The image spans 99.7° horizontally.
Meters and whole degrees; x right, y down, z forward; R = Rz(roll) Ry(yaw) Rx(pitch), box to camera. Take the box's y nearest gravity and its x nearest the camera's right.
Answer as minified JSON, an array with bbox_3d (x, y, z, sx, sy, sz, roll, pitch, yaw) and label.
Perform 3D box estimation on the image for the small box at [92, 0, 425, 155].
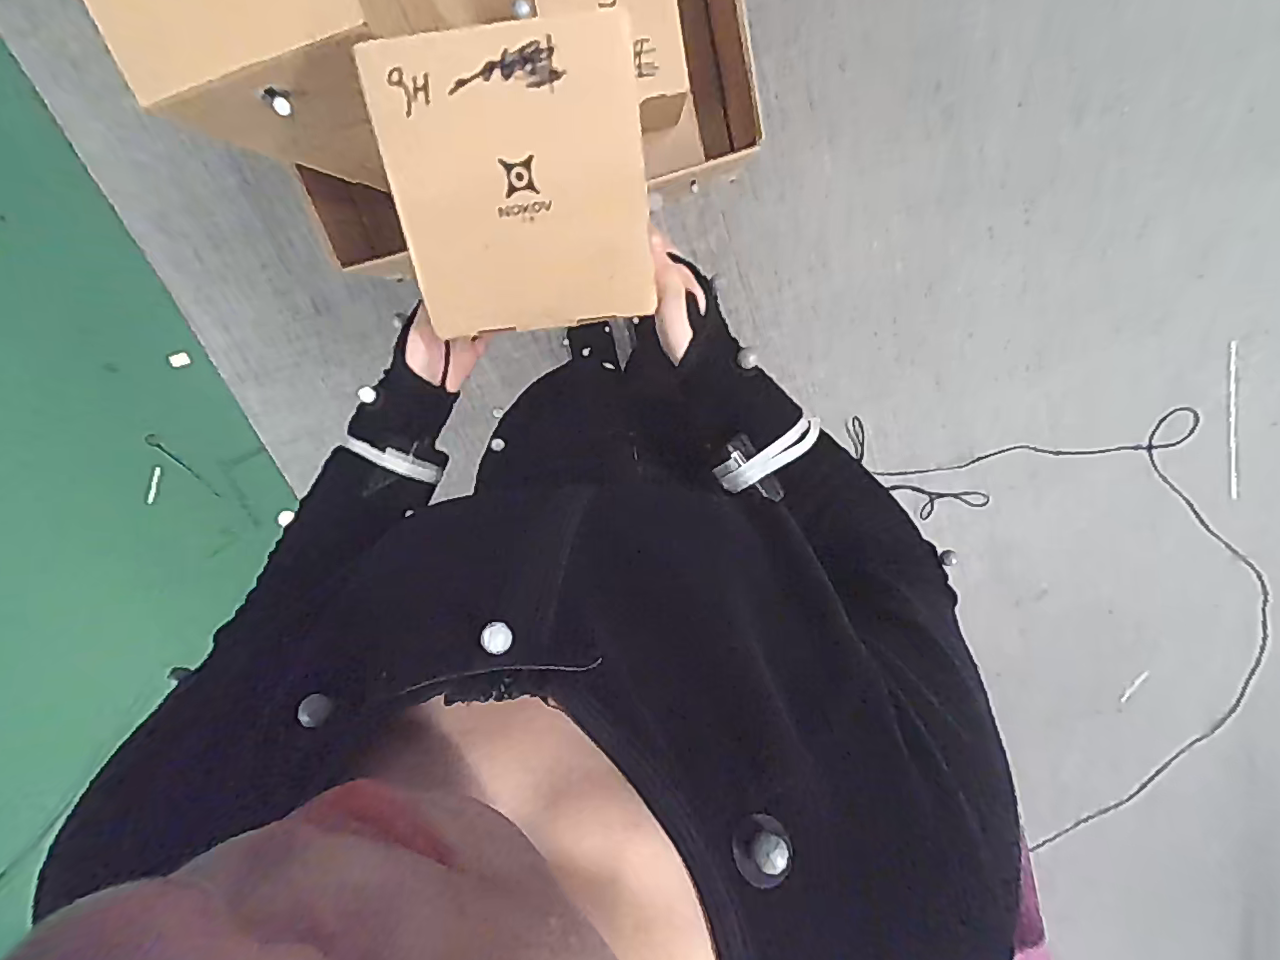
[{"bbox_3d":[-0.293,-0.384,0.428,0.179,0.176,0.168,-17,111,2],"label":"small box"}]

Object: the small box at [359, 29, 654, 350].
[{"bbox_3d":[-0.080,-0.218,0.428,0.168,0.176,0.179,-7,118,1],"label":"small box"}]

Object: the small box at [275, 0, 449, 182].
[{"bbox_3d":[-0.303,-0.443,0.582,0.179,0.176,0.168,-16,110,2],"label":"small box"}]
